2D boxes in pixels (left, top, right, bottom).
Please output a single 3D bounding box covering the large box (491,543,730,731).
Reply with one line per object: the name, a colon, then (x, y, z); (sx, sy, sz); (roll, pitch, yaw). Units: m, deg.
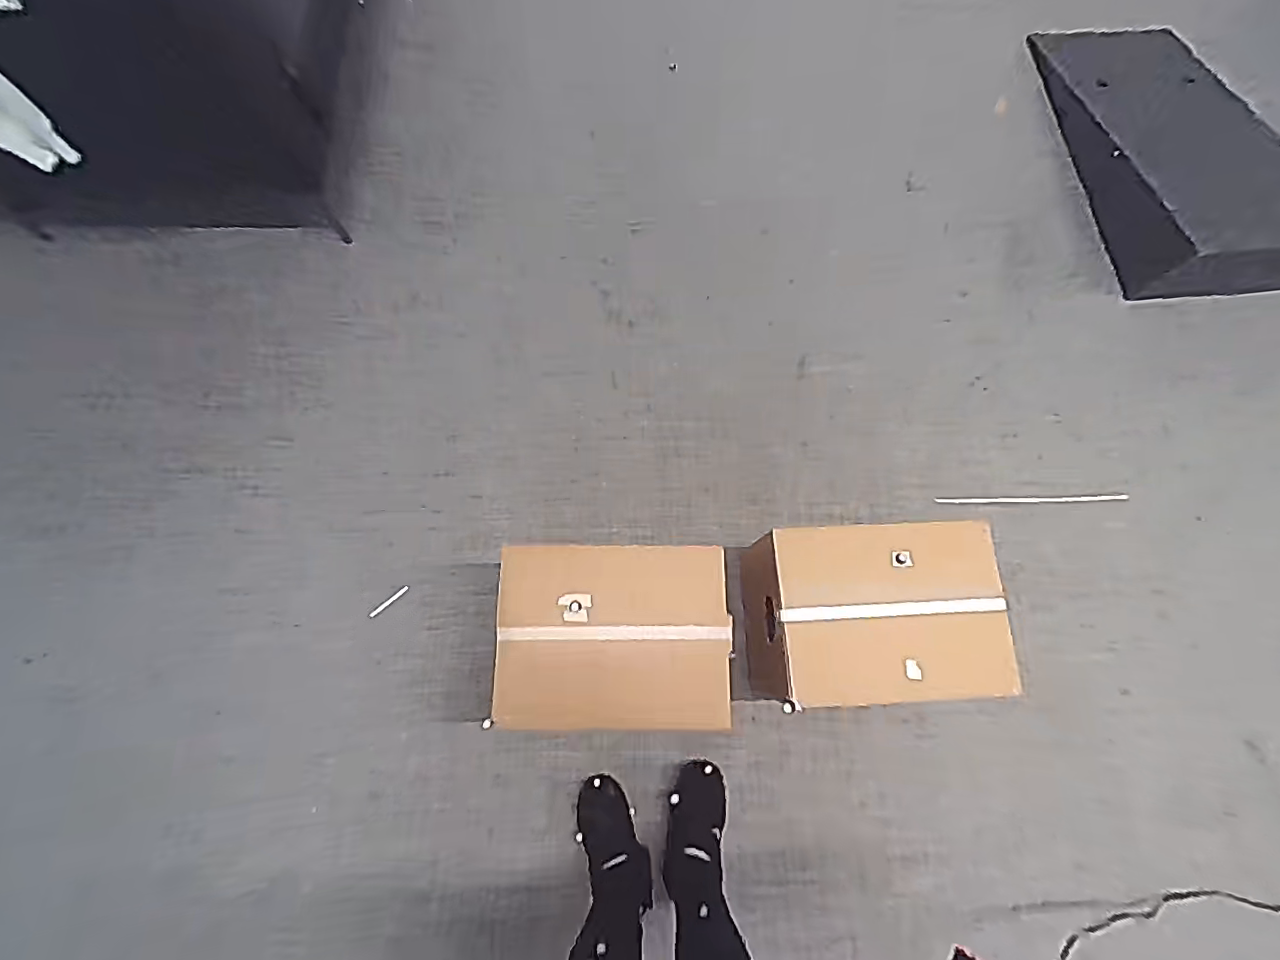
large box: (-0.049, 0.304, 1.079); (0.408, 0.320, 0.320); (0, 74, 0)
